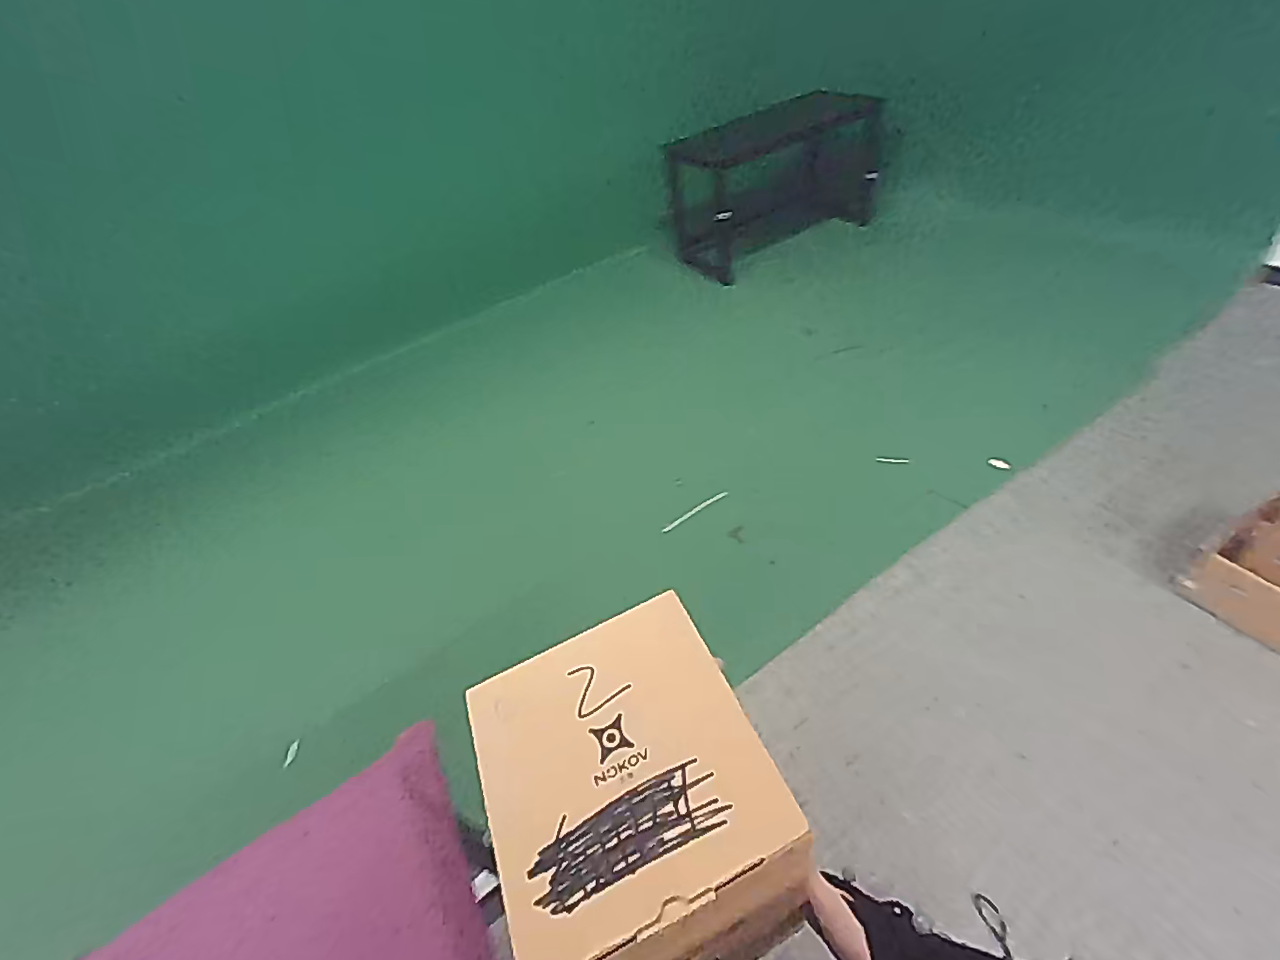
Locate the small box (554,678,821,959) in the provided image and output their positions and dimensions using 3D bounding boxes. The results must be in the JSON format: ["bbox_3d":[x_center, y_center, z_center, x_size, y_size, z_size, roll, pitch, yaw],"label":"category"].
[{"bbox_3d":[0.041,0.327,0.500,0.168,0.176,0.179,-25,47,-10],"label":"small box"}]

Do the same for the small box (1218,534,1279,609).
[{"bbox_3d":[1.779,0.221,1.494,0.179,0.176,0.168,-27,47,-14],"label":"small box"}]

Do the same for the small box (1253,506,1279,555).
[{"bbox_3d":[1.749,0.110,1.377,0.179,0.176,0.168,-28,46,-13],"label":"small box"}]
